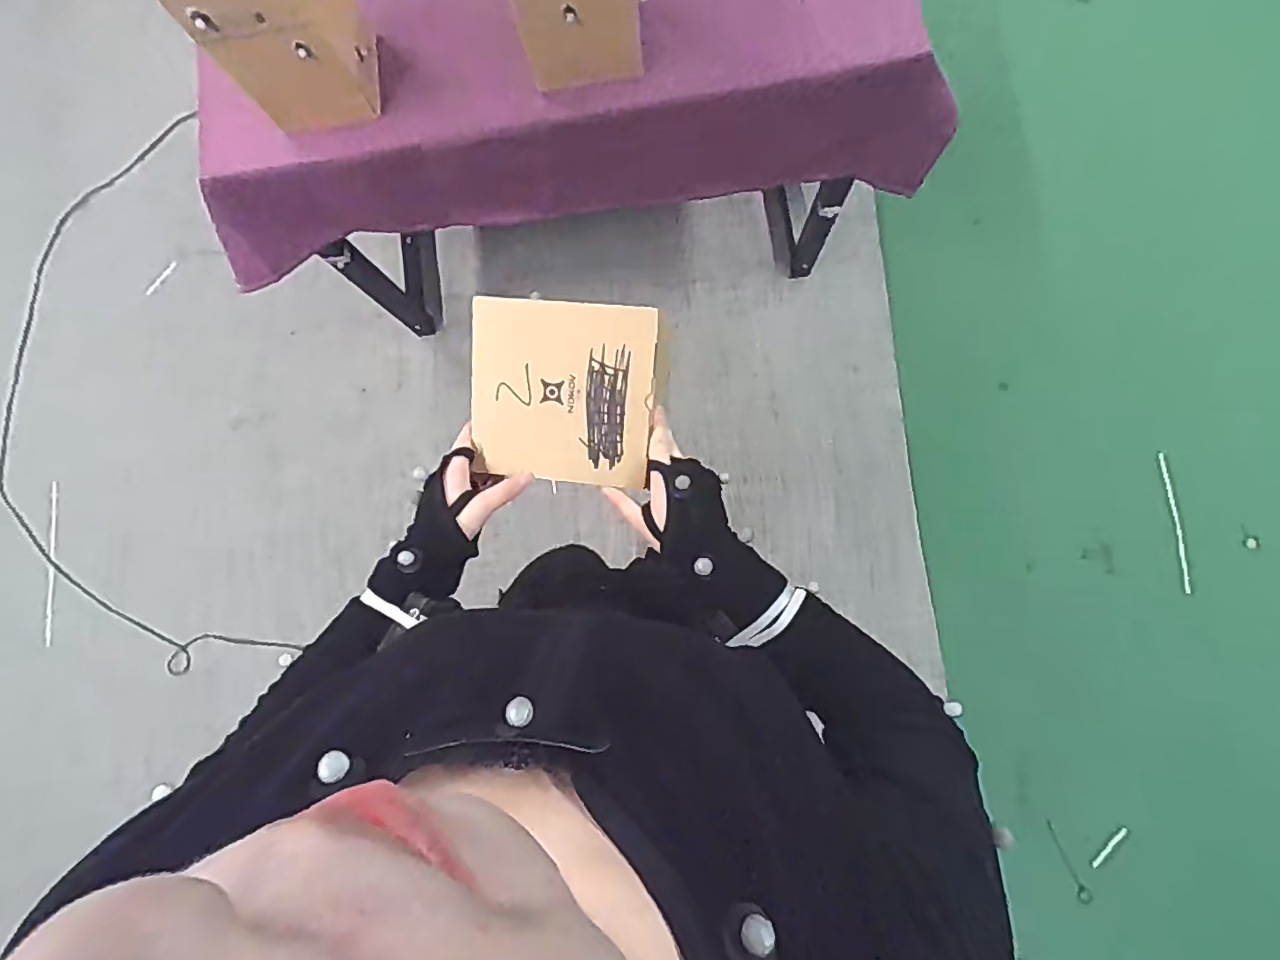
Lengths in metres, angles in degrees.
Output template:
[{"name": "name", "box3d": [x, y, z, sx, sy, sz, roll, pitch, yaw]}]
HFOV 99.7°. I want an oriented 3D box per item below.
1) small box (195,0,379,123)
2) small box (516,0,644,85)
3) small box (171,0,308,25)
[{"name": "small box", "box3d": [-0.528, -0.684, 0.826, 0.179, 0.176, 0.168, -7, 82, 1]}, {"name": "small box", "box3d": [-0.090, -0.733, 0.806, 0.179, 0.176, 0.168, -5, 83, 3]}, {"name": "small box", "box3d": [-0.535, -0.707, 0.664, 0.168, 0.176, 0.179, -7, 81, 1]}]
